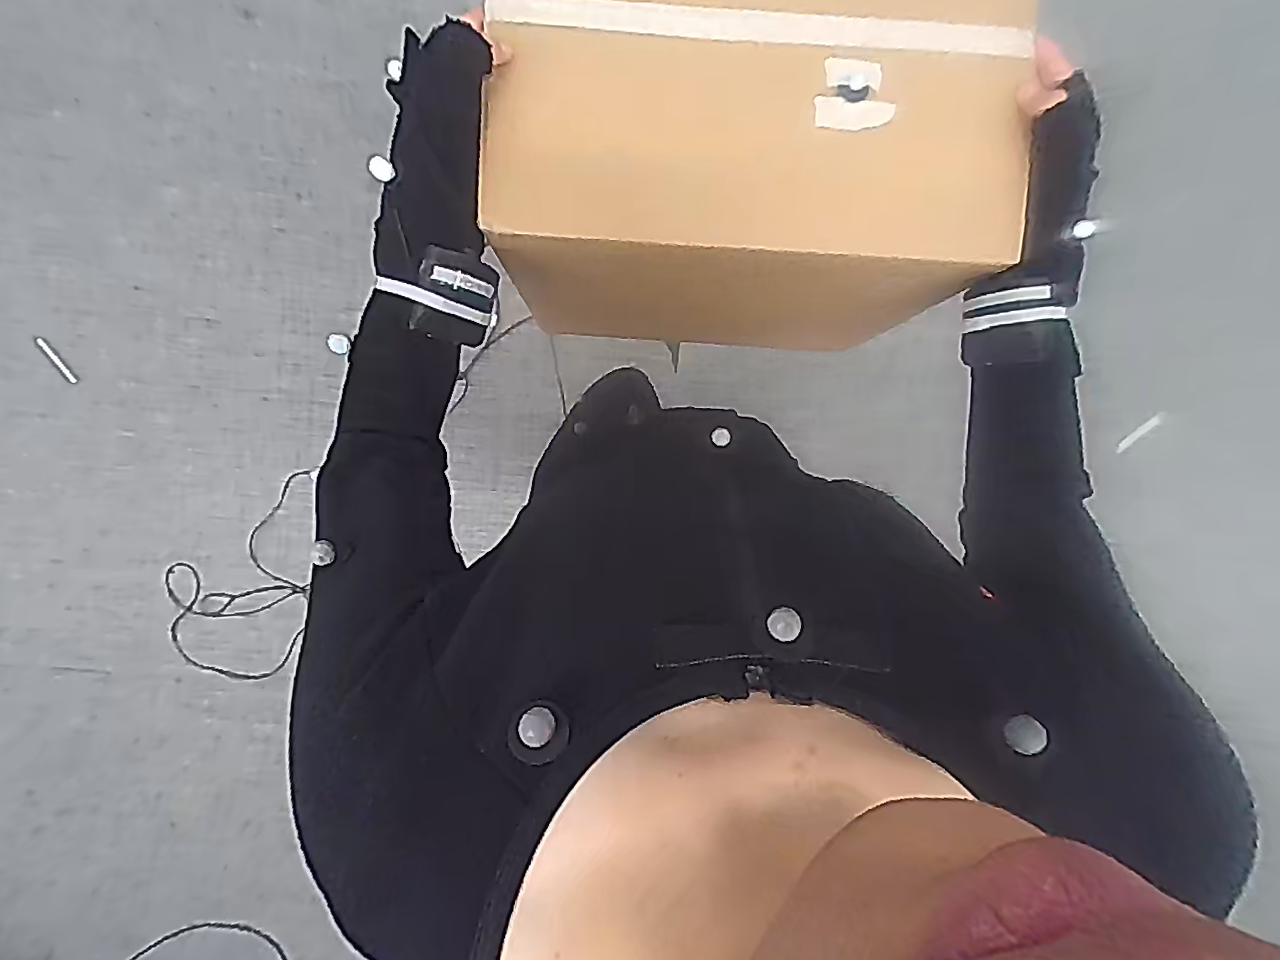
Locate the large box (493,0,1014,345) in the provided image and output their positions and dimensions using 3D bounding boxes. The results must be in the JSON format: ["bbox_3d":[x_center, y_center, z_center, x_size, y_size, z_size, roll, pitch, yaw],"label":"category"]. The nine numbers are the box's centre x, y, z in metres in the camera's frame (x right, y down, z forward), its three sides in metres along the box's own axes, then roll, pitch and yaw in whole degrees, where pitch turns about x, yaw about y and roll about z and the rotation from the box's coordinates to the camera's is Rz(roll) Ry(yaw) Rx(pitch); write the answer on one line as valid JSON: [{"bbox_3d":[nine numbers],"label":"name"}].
[{"bbox_3d":[0.083,-0.335,0.563,0.408,0.320,0.320,3,91,-2],"label":"large box"}]
